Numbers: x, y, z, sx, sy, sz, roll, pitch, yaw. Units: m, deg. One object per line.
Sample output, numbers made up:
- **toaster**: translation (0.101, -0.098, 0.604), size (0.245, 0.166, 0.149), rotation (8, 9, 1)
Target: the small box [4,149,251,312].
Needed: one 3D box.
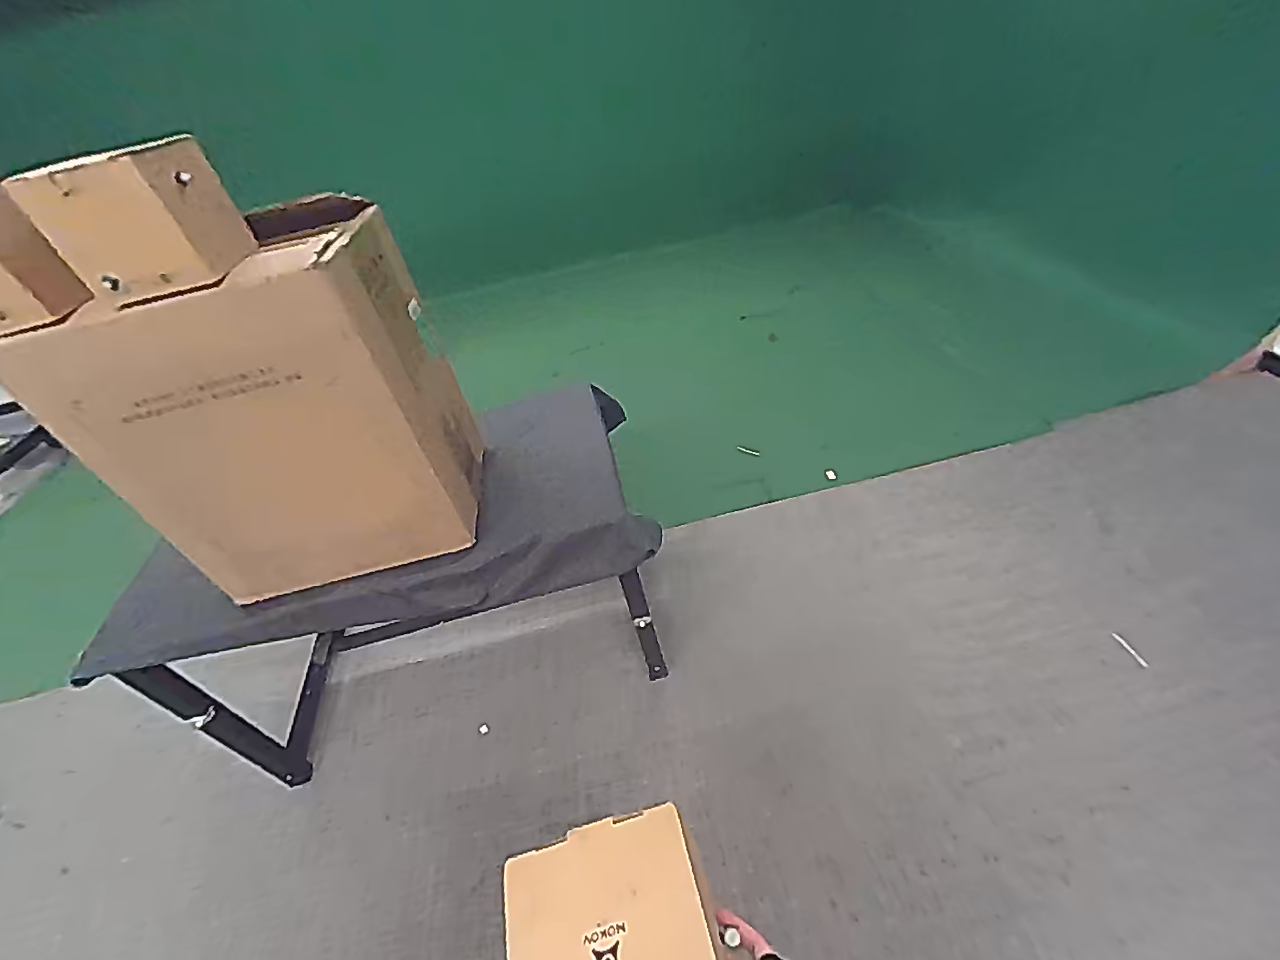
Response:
- **small box**: translation (-0.725, -0.362, 0.797), size (0.168, 0.176, 0.179), rotation (-14, 39, -2)

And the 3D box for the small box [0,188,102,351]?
- **small box**: translation (-0.948, -0.301, 0.795), size (0.168, 0.176, 0.179), rotation (-16, 41, 1)

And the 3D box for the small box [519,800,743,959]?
- **small box**: translation (0.003, 0.430, 0.479), size (0.168, 0.176, 0.179), rotation (-19, 39, -3)
